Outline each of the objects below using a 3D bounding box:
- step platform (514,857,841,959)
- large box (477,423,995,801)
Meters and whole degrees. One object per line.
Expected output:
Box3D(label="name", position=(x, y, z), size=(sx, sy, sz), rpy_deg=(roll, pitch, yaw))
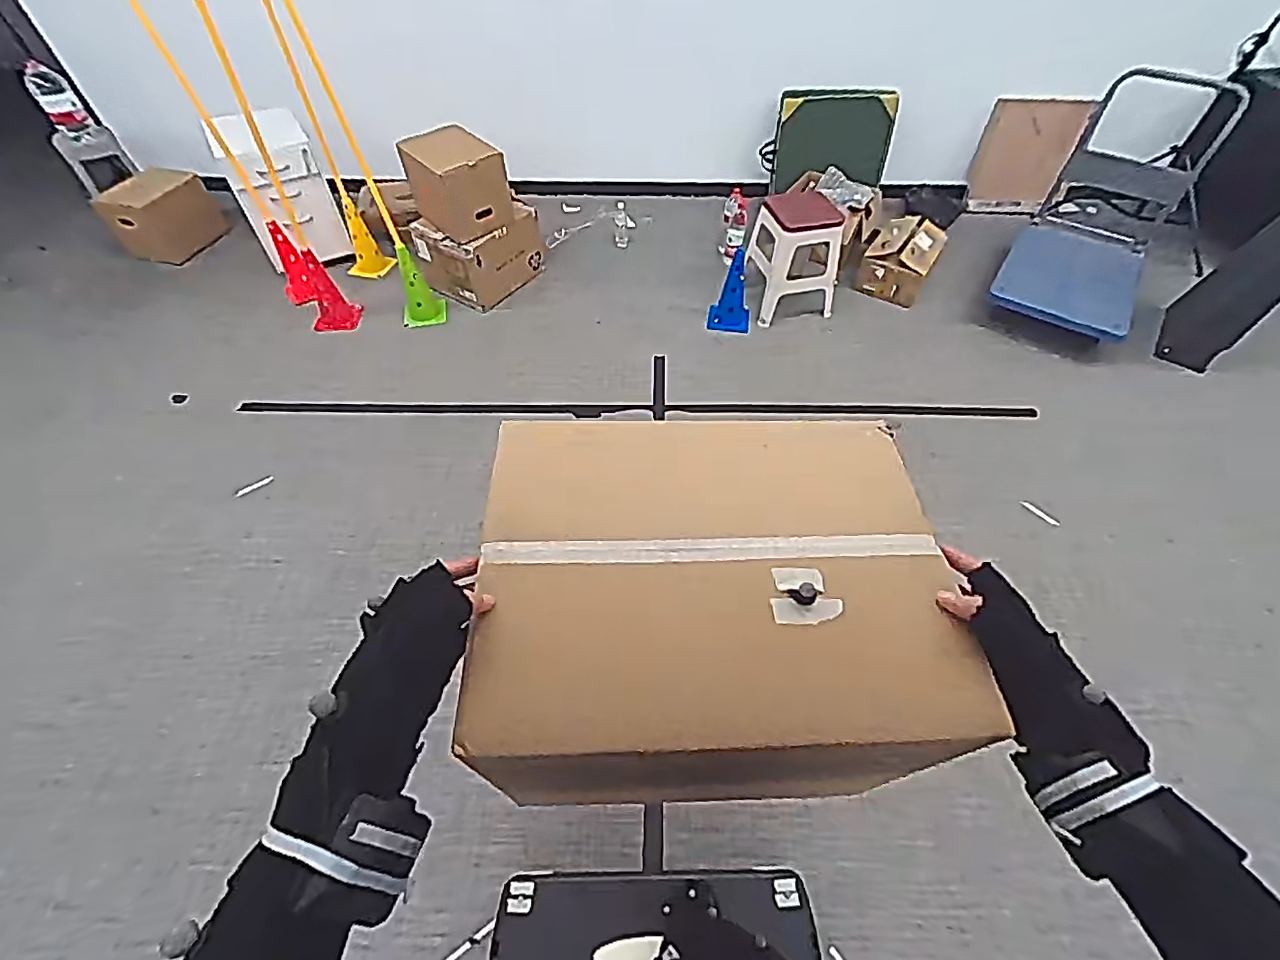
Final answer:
Box3D(label="step platform", position=(0.075, 1.000, 1.169), size=(0.684, 0.204, 0.286), rpy_deg=(-1, 53, -2))
Box3D(label="large box", position=(0.061, 0.153, 0.606), size=(0.408, 0.320, 0.320), rpy_deg=(-1, 54, -4))
